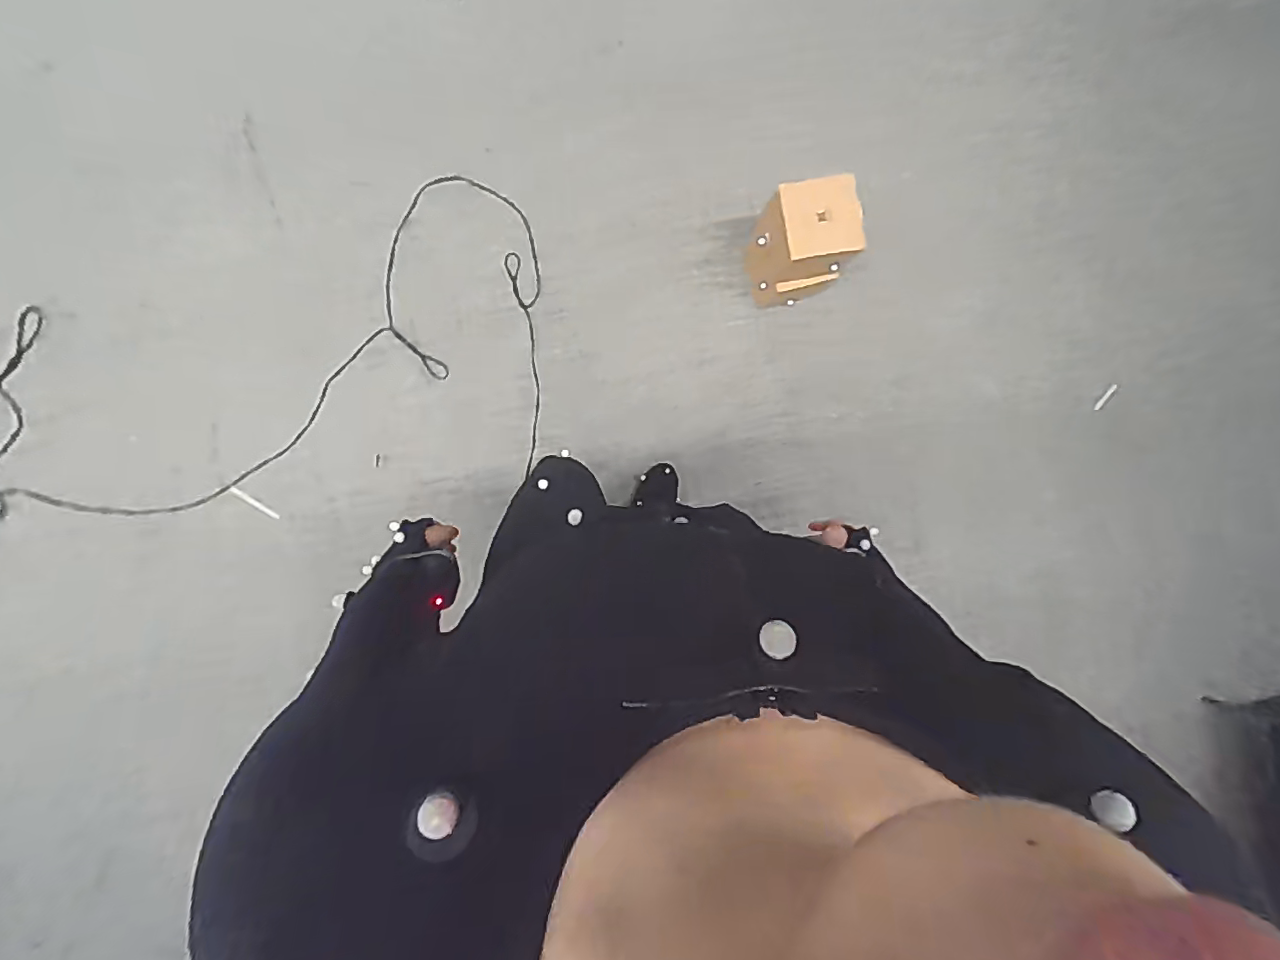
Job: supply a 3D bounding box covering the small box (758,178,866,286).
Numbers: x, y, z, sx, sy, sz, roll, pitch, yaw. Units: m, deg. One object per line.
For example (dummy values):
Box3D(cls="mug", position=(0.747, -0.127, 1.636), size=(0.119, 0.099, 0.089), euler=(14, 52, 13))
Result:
Box3D(cls="small box", position=(0.392, -0.568, 1.256), size=(0.179, 0.176, 0.168), euler=(-11, 92, -4))
